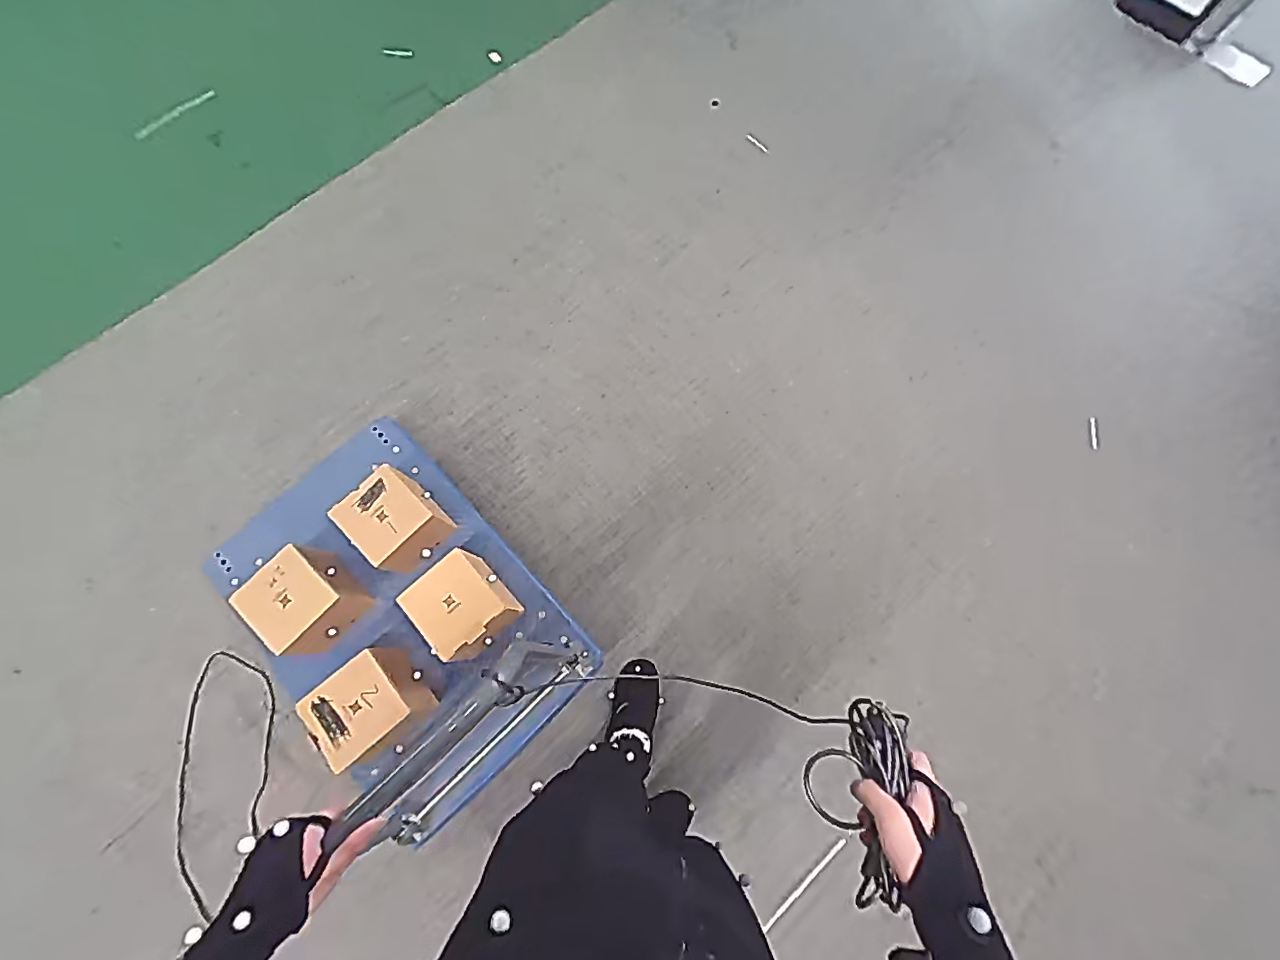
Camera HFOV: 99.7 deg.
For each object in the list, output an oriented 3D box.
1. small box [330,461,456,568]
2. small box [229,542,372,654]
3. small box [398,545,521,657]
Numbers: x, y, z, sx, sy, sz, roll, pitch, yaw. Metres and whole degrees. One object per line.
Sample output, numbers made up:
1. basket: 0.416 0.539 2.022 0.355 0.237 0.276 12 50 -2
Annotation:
1. small box: -0.565 0.089 1.258 0.179 0.176 0.168 44 80 11
2. small box: -0.746 0.265 1.211 0.179 0.176 0.168 42 78 11
3. small box: -0.393 0.274 1.205 0.168 0.176 0.179 -41 78 -10
